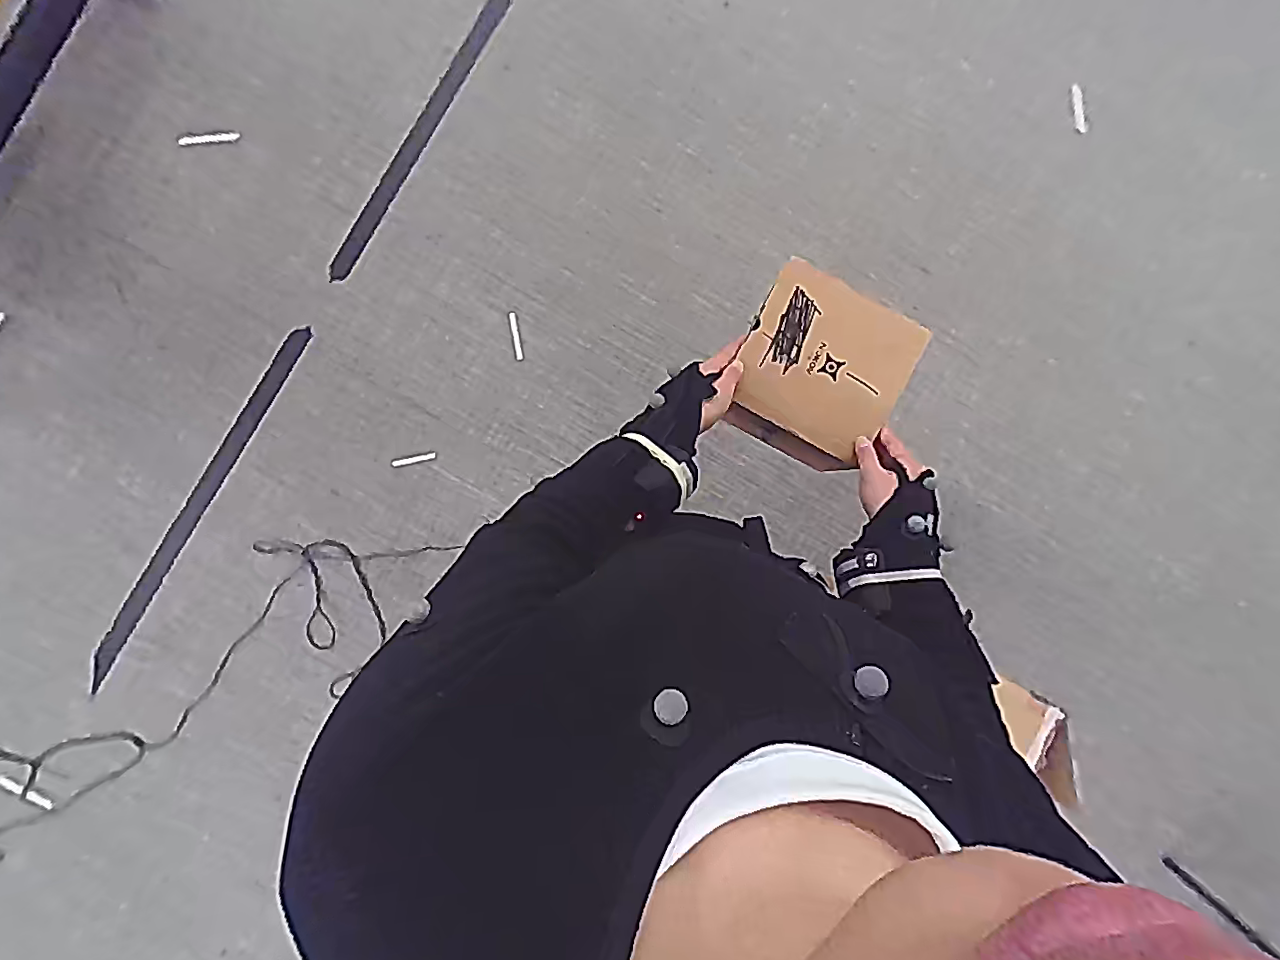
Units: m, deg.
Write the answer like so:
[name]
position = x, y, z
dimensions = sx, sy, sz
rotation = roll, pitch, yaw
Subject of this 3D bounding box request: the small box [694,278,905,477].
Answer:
[small box]
position = 0.179, -0.110, 0.673
dimensions = 0.179, 0.176, 0.168
rotation = 29, 89, 3
